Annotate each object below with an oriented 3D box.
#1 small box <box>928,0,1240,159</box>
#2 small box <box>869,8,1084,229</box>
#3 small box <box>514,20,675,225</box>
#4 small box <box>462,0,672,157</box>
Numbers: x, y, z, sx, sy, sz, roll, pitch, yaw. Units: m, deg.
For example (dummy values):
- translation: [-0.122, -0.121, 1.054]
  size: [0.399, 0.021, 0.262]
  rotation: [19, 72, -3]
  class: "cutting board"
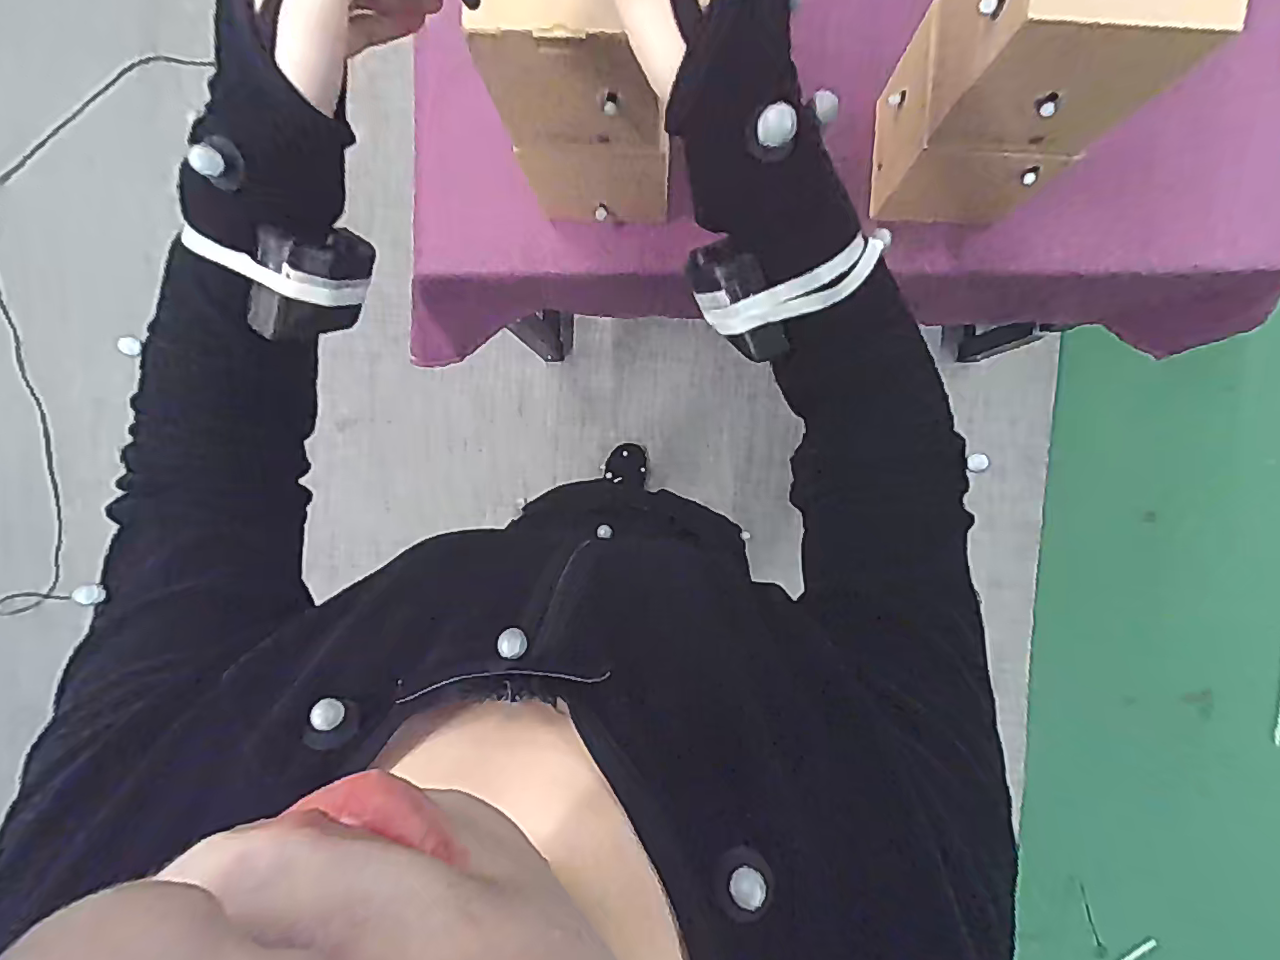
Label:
- translation: [0.393, -0.432, 0.502]
  size: [0.168, 0.176, 0.179]
  rotation: [6, 91, 2]
  class: "small box"
- translation: [0.401, -0.429, 0.667]
  size: [0.179, 0.176, 0.168]
  rotation: [4, 91, 2]
  class: "small box"
- translation: [-0.050, -0.444, 0.689]
  size: [0.179, 0.176, 0.168]
  rotation: [3, 91, 2]
  class: "small box"
- translation: [-0.057, -0.447, 0.525]
  size: [0.168, 0.176, 0.179]
  rotation: [5, 90, 2]
  class: "small box"
